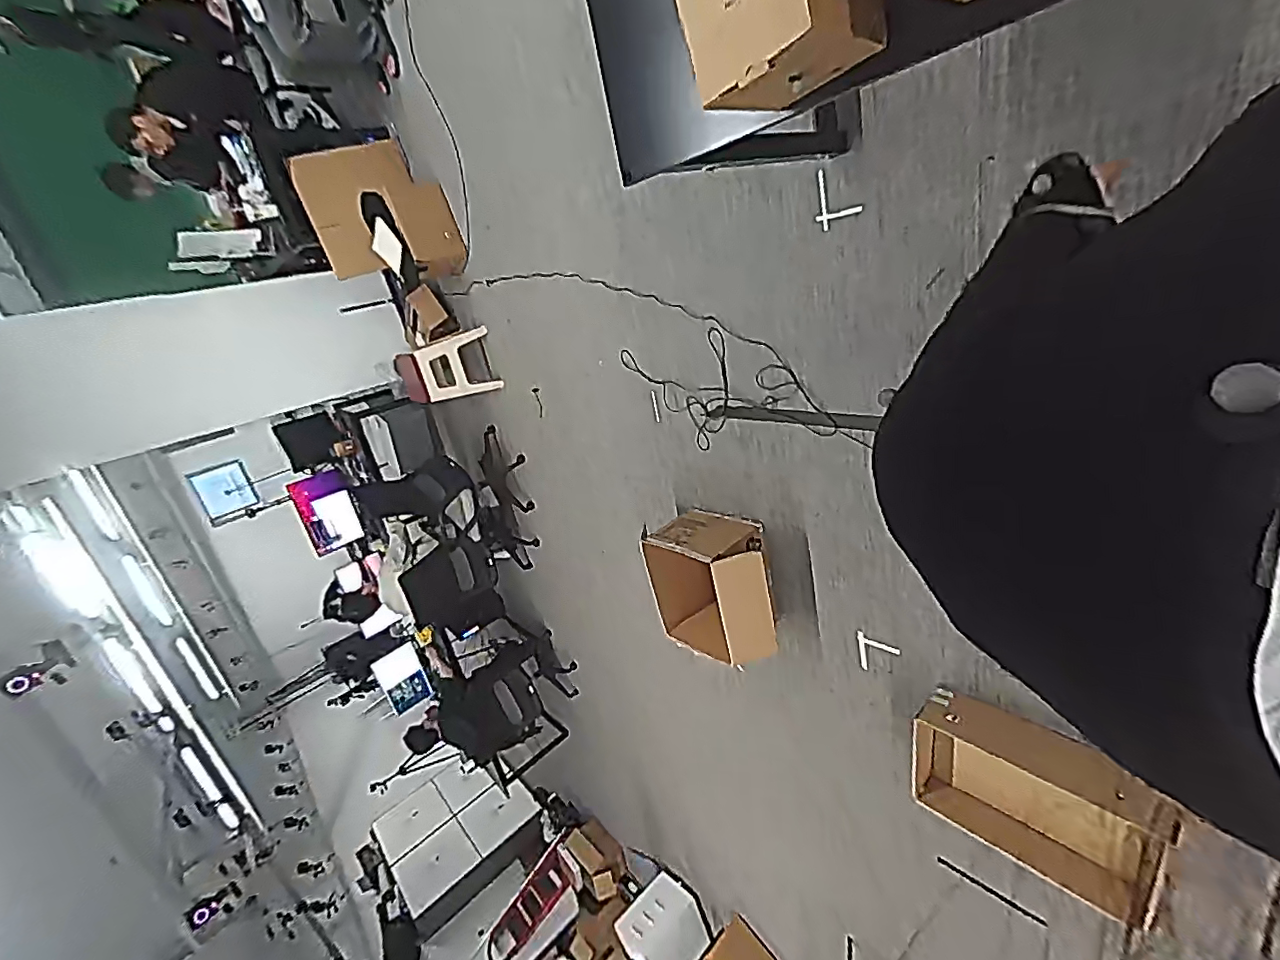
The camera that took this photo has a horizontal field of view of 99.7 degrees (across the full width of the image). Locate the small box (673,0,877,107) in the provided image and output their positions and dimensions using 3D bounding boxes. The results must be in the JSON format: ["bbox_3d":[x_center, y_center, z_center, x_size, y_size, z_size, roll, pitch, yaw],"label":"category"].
[{"bbox_3d":[0.159,-0.580,0.643,0.168,0.176,0.179,4,116,52],"label":"small box"}]
